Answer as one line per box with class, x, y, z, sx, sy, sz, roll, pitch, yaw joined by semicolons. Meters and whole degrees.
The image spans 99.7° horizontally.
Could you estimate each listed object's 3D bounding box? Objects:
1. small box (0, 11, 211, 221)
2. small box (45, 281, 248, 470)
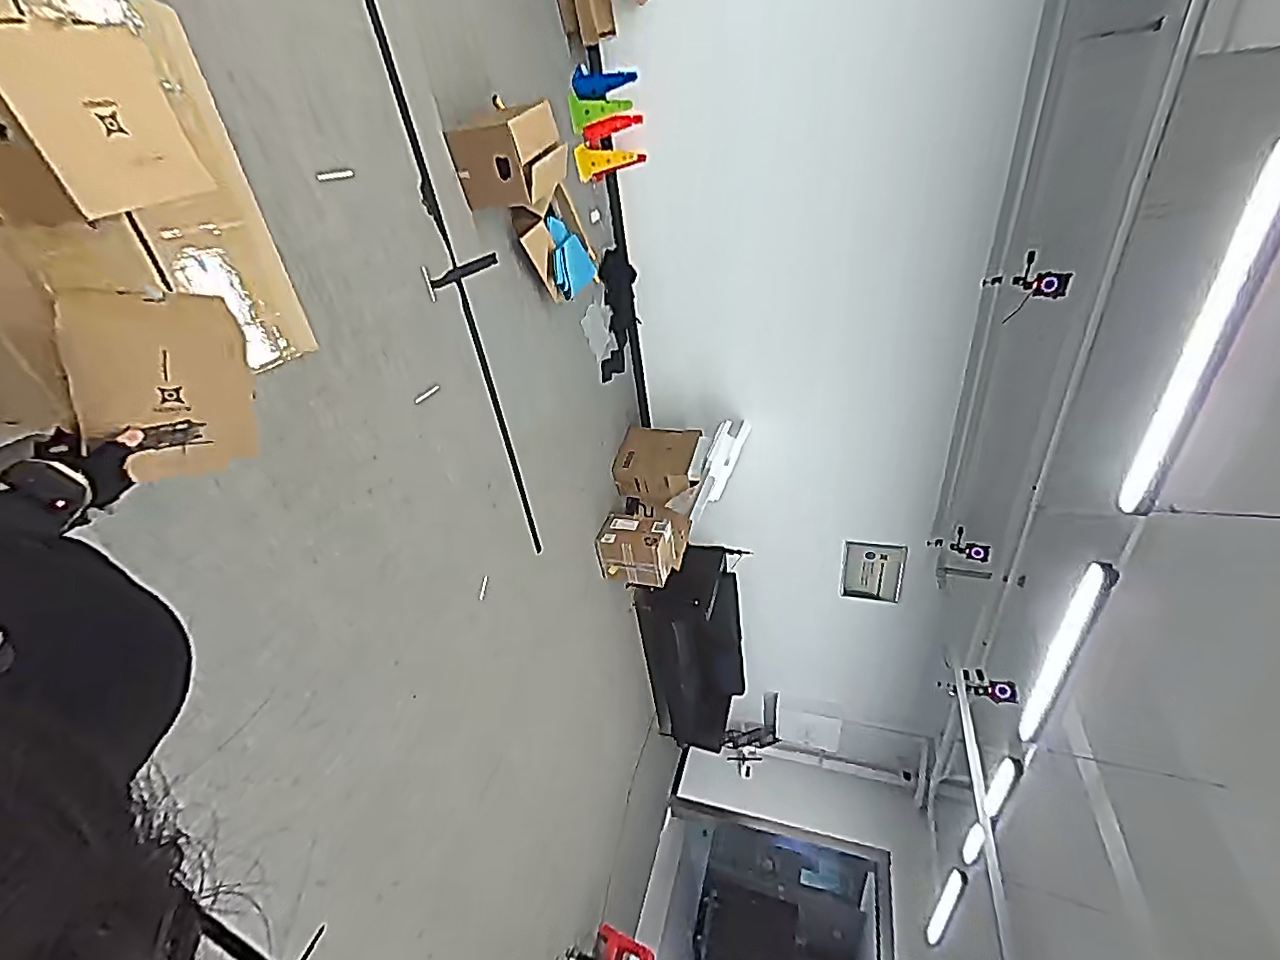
small box;-0.677;-0.416;0.629;0.168;0.176;0.179;-61;151;-47
small box;-0.616;-0.134;0.687;0.168;0.176;0.179;-11;126;-43
